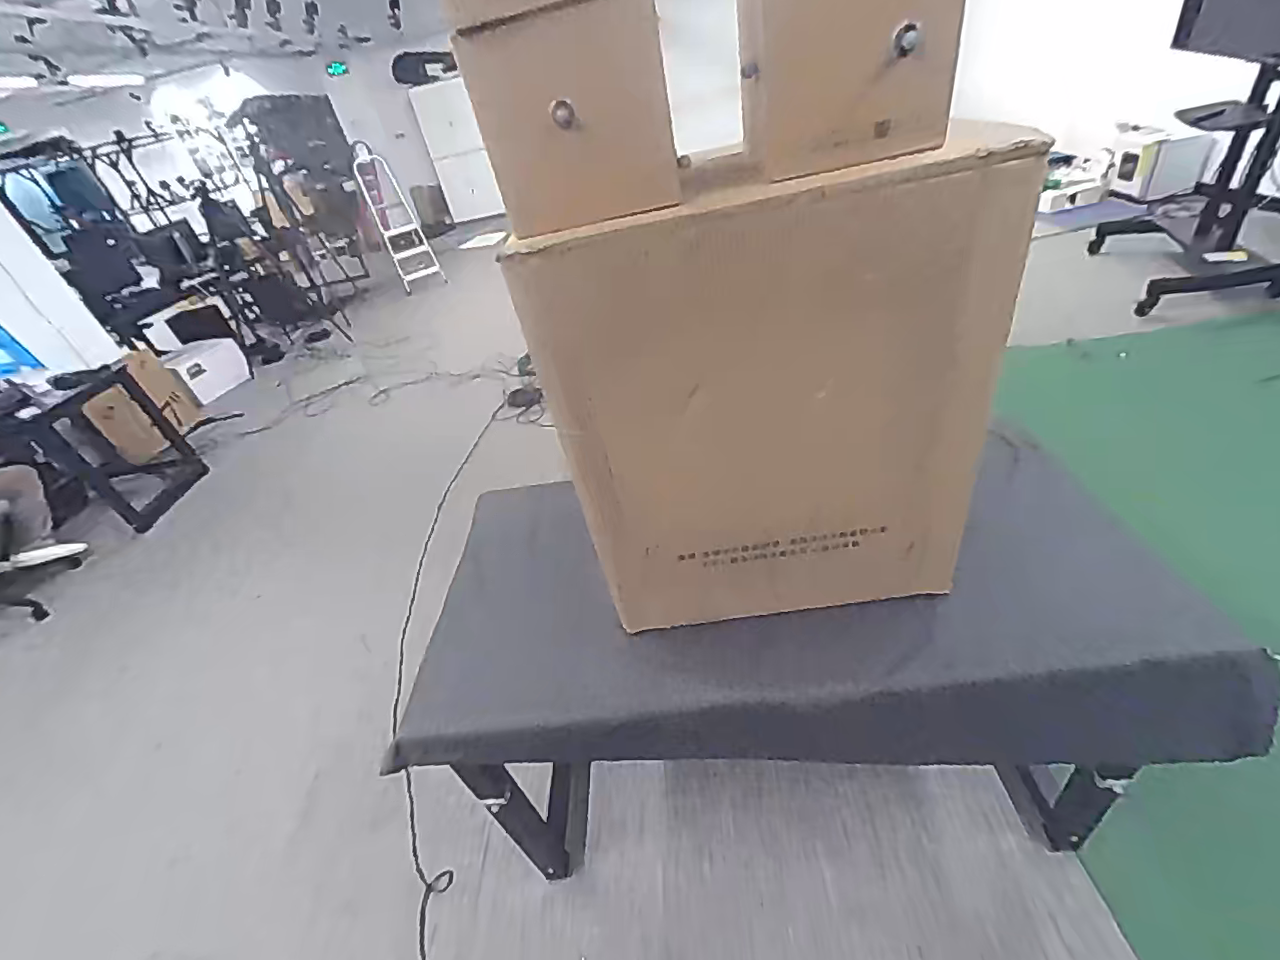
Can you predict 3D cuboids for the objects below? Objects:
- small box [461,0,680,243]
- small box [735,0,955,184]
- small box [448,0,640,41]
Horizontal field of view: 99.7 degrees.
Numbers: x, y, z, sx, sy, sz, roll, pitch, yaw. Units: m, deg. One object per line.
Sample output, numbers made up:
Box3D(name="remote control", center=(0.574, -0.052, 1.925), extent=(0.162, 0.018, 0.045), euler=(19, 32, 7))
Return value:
Box3D(name="small box", center=(-0.056, -0.364, 0.555), extent=(0.179, 0.176, 0.168), euler=(-10, 40, 3))
Box3D(name="small box", center=(0.191, -0.409, 0.537), extent=(0.168, 0.176, 0.179), euler=(-7, 38, 6))
Box3D(name="small box", center=(-0.092, -0.488, 0.454), extent=(0.168, 0.176, 0.179), euler=(-11, 39, 5))
